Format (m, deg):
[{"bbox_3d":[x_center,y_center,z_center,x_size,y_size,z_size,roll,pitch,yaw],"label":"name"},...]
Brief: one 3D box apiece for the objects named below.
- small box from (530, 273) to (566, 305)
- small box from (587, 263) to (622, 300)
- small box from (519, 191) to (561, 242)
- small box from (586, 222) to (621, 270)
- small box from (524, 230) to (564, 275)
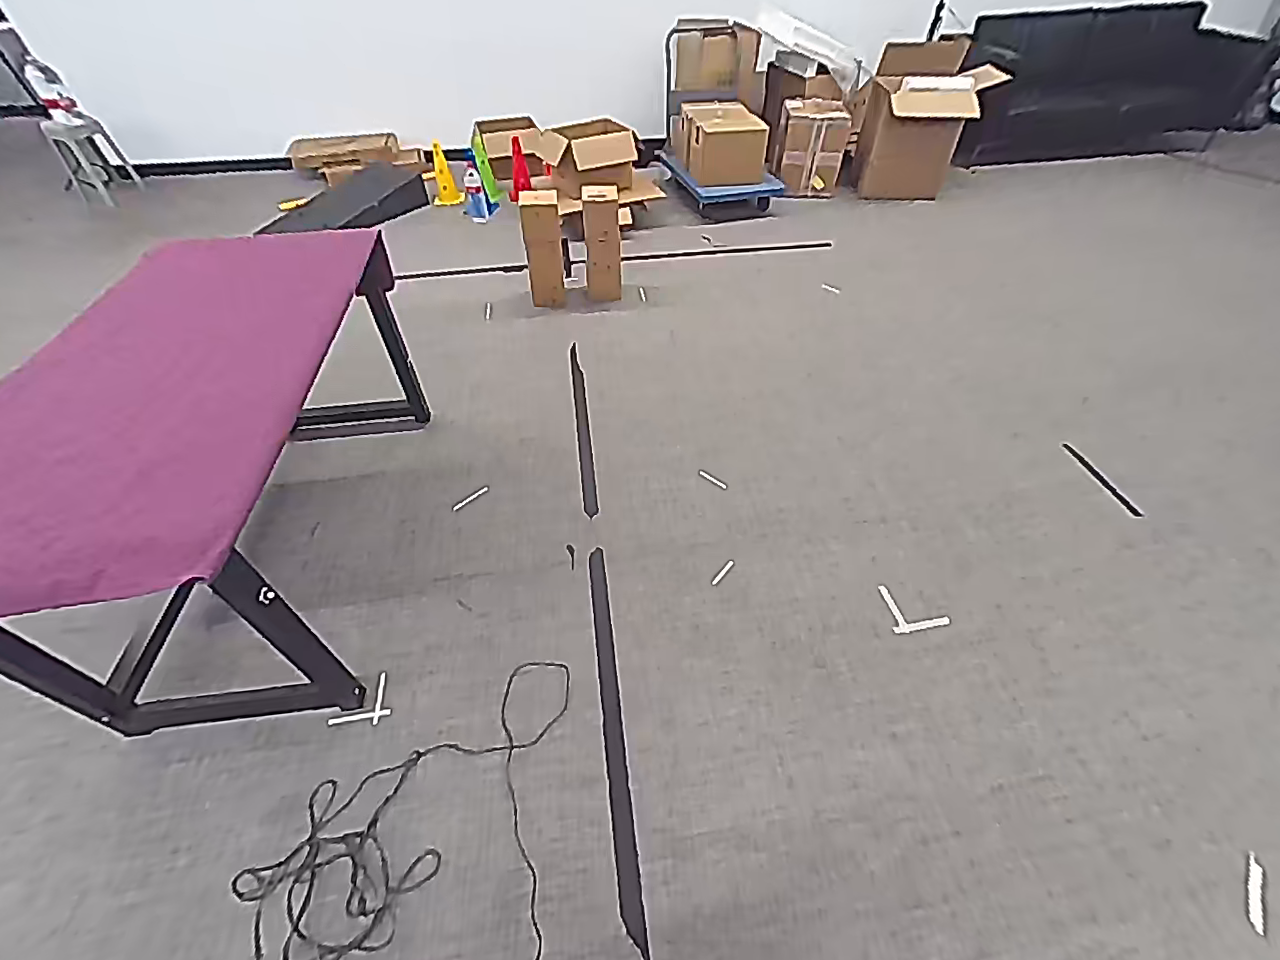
[{"bbox_3d":[-0.473,-1.011,2.768,0.168,0.176,0.179,-6,47,-8],"label":"small box"},{"bbox_3d":[-0.187,-1.051,2.807,0.179,0.176,0.168,-2,48,-3],"label":"small box"},{"bbox_3d":[-0.467,-1.228,2.523,0.179,0.176,0.168,-5,48,-8],"label":"small box"},{"bbox_3d":[-0.182,-1.158,2.682,0.168,0.176,0.179,-3,47,-4],"label":"small box"},{"bbox_3d":[-0.467,-1.115,2.644,0.179,0.176,0.168,-5,48,-7],"label":"small box"}]
